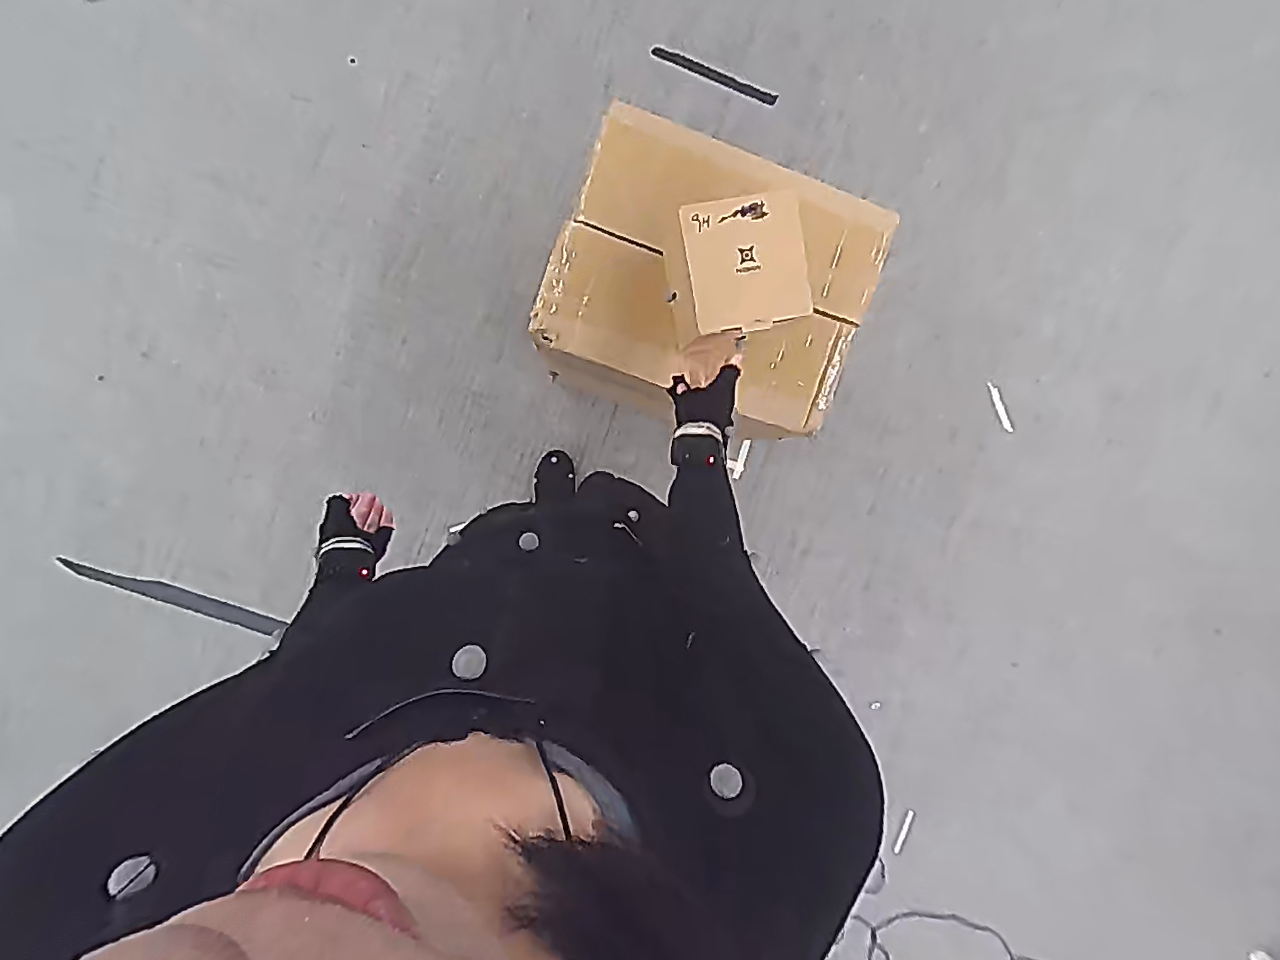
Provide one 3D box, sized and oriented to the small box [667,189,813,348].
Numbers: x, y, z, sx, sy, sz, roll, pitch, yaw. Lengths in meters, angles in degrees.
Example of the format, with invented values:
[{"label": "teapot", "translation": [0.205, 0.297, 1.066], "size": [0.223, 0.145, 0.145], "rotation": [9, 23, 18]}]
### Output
[{"label": "small box", "translation": [0.141, -0.302, 0.813], "size": [0.168, 0.176, 0.179], "rotation": [-11, 96, -4]}]
